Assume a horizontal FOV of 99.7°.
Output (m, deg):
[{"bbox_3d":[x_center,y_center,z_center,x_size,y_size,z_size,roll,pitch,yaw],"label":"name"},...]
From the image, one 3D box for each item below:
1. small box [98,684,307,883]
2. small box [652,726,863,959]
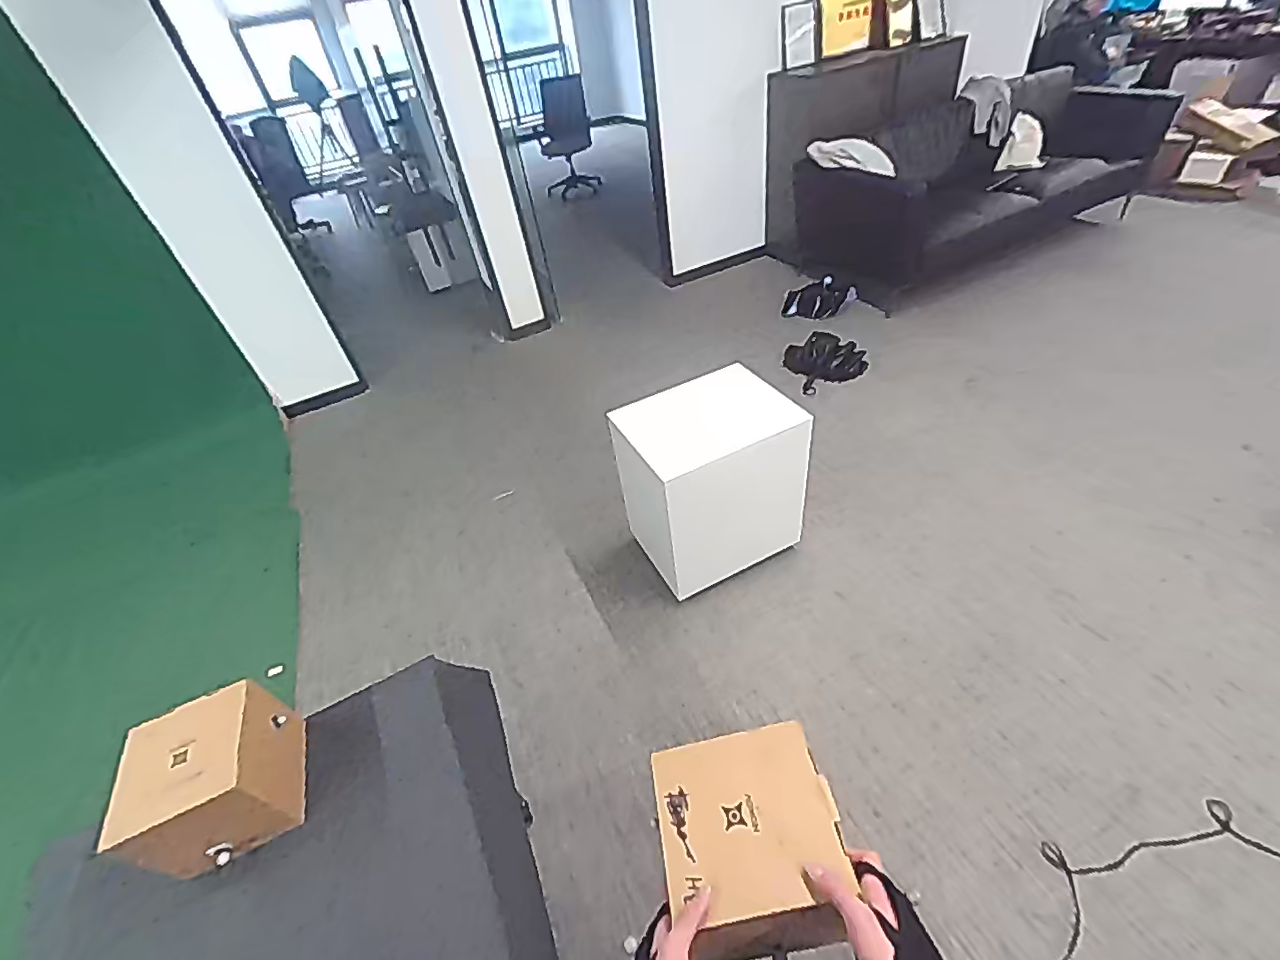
[{"bbox_3d":[-0.622,0.446,0.799,0.168,0.176,0.179,-24,44,-13],"label":"small box"},{"bbox_3d":[0.121,0.401,0.588,0.179,0.176,0.168,-13,36,3],"label":"small box"}]
